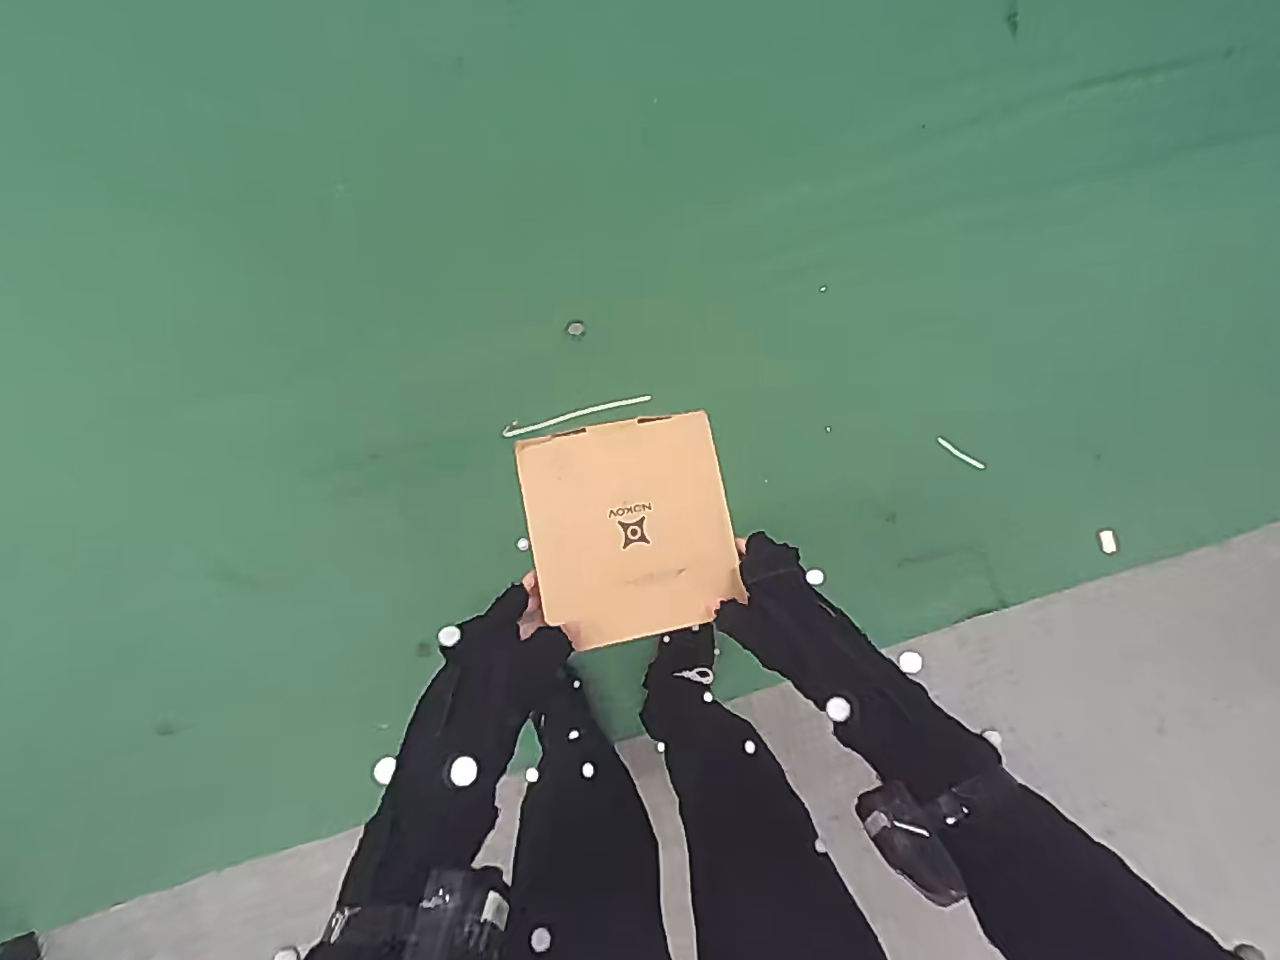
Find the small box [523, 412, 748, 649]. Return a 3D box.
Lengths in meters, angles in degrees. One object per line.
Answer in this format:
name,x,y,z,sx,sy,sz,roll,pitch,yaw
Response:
small box,-0.014,0.049,0.534,0.168,0.176,0.179,-12,85,-8
